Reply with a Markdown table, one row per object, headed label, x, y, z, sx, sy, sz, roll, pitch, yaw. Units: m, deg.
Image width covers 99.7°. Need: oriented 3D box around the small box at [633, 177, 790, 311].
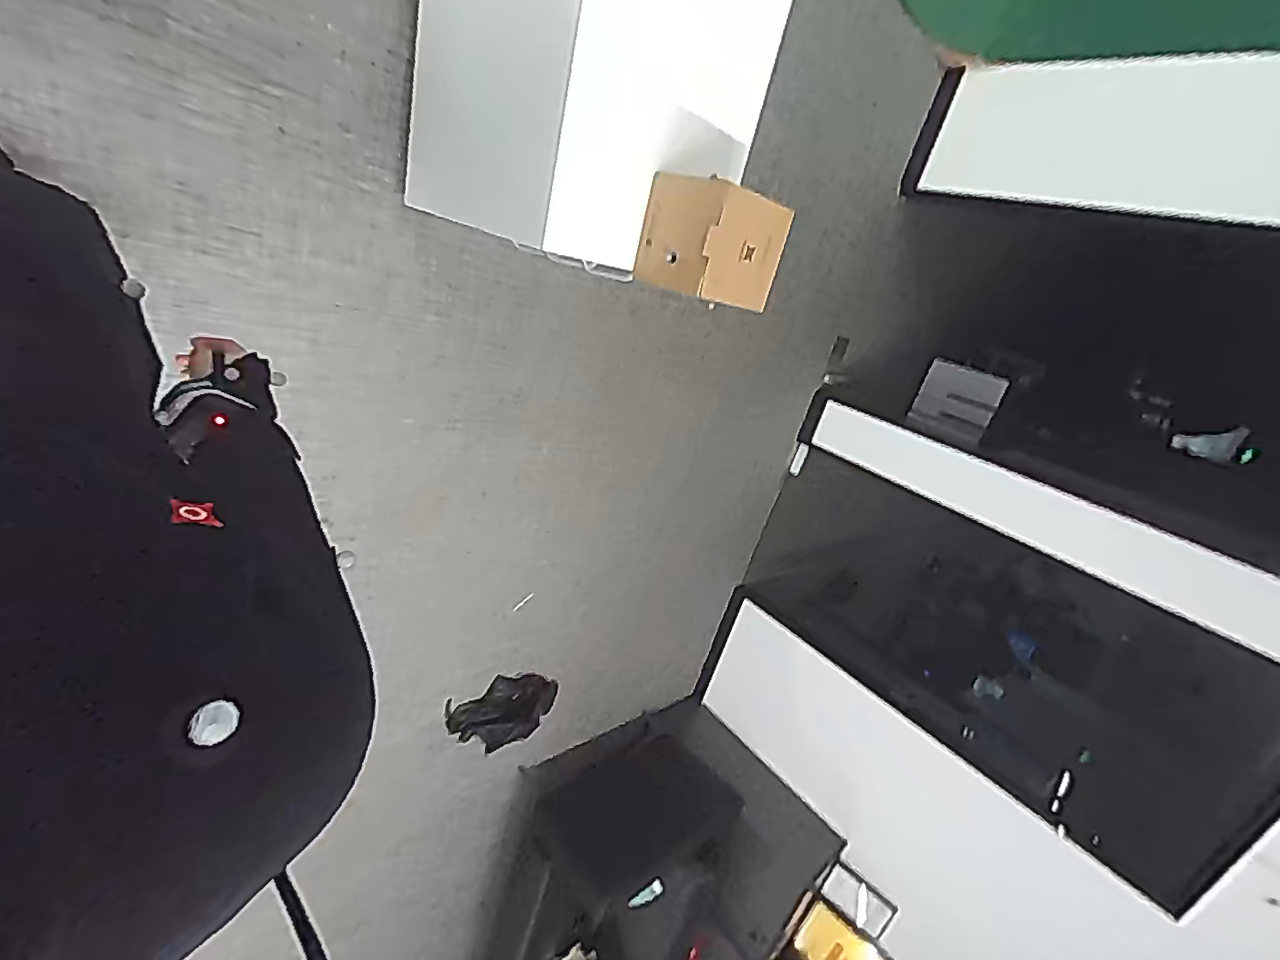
| label | x | y | z | sx | sy | sz | roll | pitch | yaw |
| --- | --- | --- | --- | --- | --- | --- | --- | --- | --- |
| small box | 0.114 | -0.396 | 0.910 | 0.179 | 0.176 | 0.168 | -8 | 122 | -43 |
